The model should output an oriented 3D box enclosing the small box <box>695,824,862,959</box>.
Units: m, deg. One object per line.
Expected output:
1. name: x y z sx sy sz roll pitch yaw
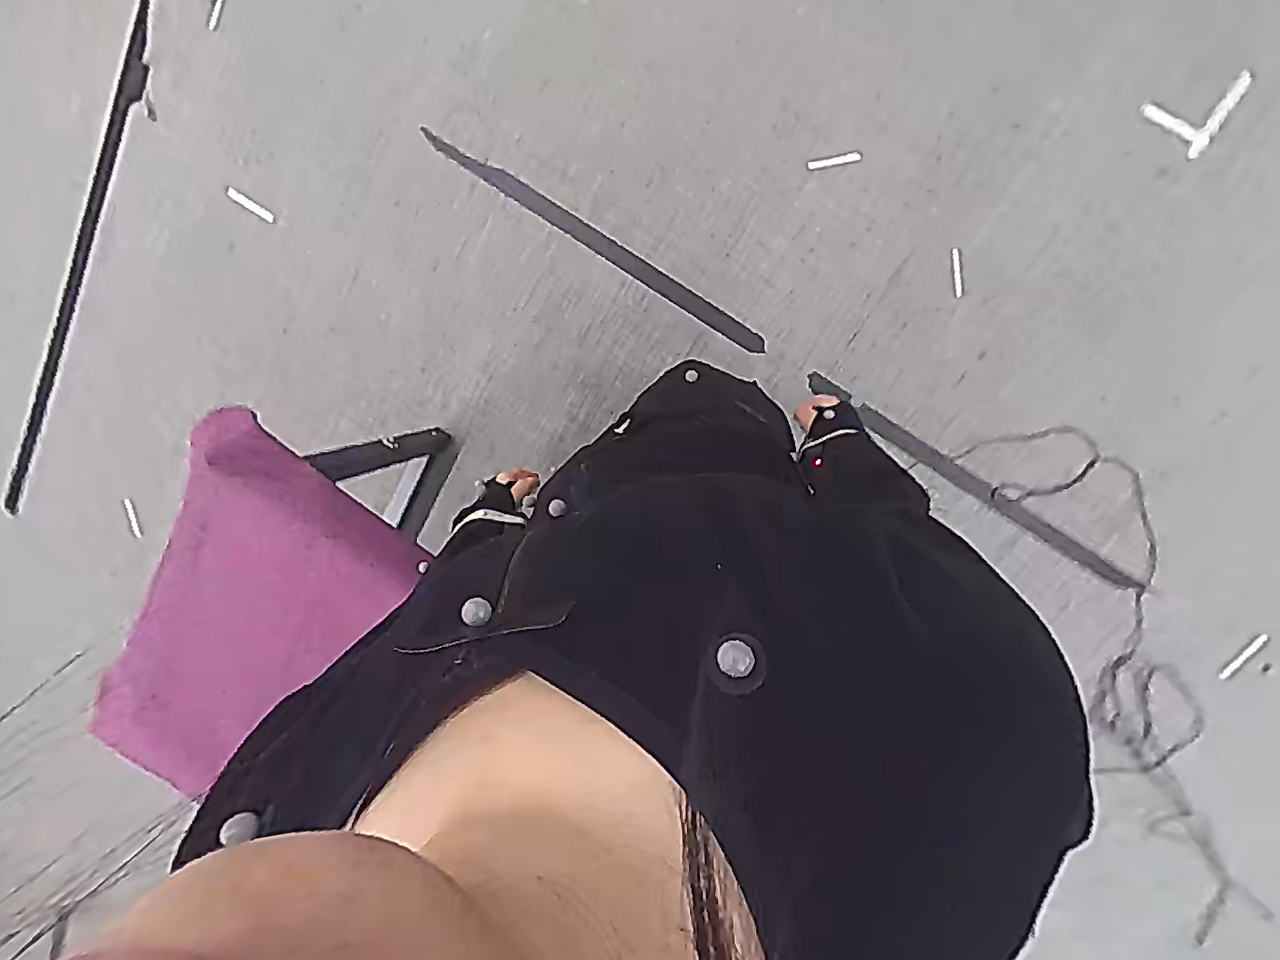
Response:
1. small box: 0.186 0.645 0.770 0.168 0.176 0.179 34 104 1
